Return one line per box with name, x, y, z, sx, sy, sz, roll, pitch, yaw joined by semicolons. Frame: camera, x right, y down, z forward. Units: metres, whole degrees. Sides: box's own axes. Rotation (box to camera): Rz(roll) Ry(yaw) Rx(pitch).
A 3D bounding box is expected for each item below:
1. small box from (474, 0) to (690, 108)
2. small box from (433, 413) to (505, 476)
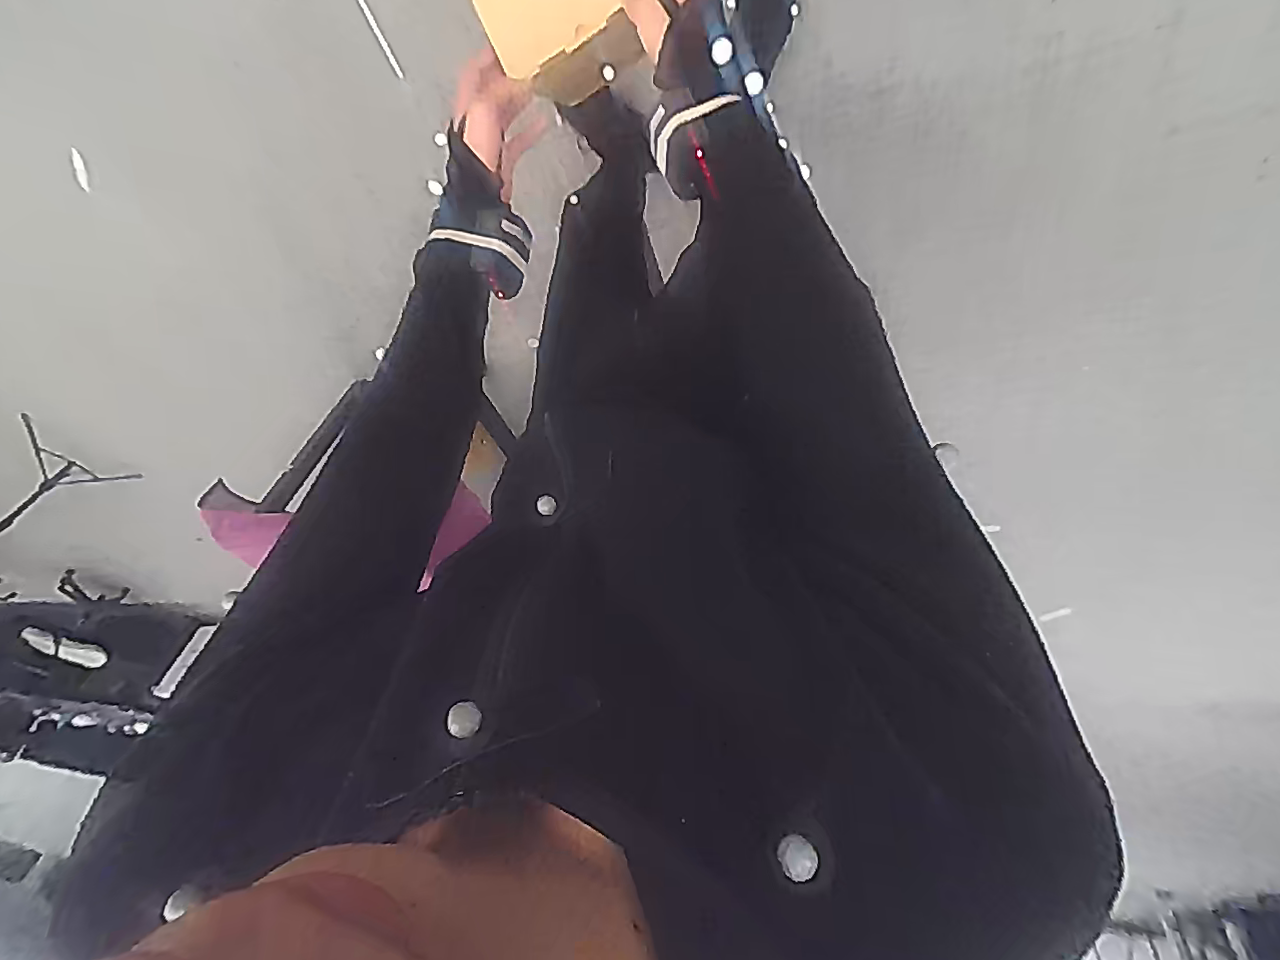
small box;-0.065;-0.502;0.528;0.168;0.176;0.179;-18;114;23
small box;-0.640;-0.139;2.040;0.168;0.176;0.179;-4;139;21
